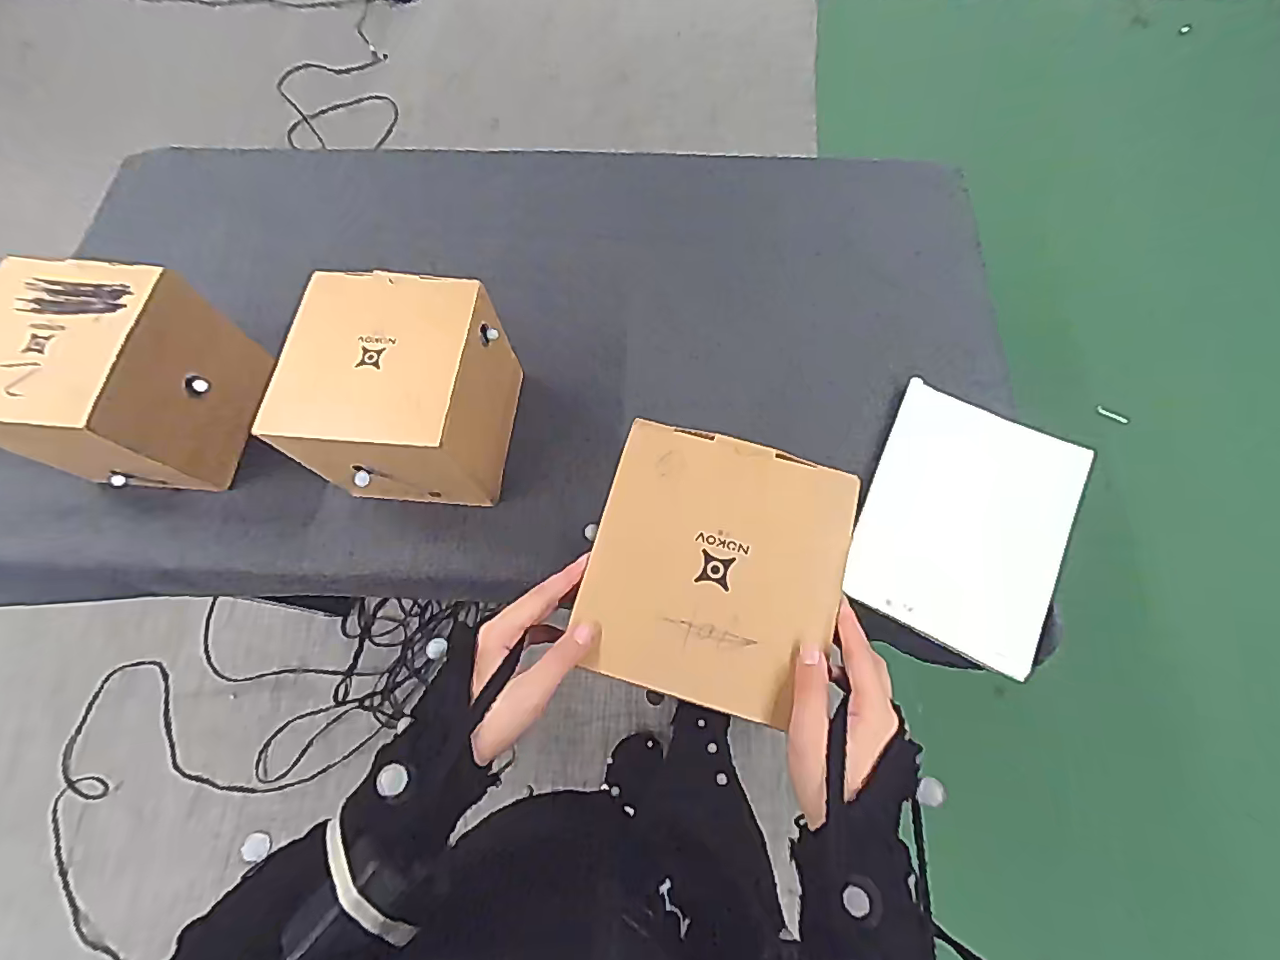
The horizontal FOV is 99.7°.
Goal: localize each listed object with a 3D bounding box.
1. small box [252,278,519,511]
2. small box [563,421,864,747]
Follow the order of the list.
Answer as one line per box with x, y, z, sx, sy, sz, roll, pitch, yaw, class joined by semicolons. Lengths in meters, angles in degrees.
-0.232;-0.076;0.547;0.168;0.176;0.179;4;68;4;small box
0.053;0.081;0.425;0.168;0.176;0.179;14;74;6;small box
